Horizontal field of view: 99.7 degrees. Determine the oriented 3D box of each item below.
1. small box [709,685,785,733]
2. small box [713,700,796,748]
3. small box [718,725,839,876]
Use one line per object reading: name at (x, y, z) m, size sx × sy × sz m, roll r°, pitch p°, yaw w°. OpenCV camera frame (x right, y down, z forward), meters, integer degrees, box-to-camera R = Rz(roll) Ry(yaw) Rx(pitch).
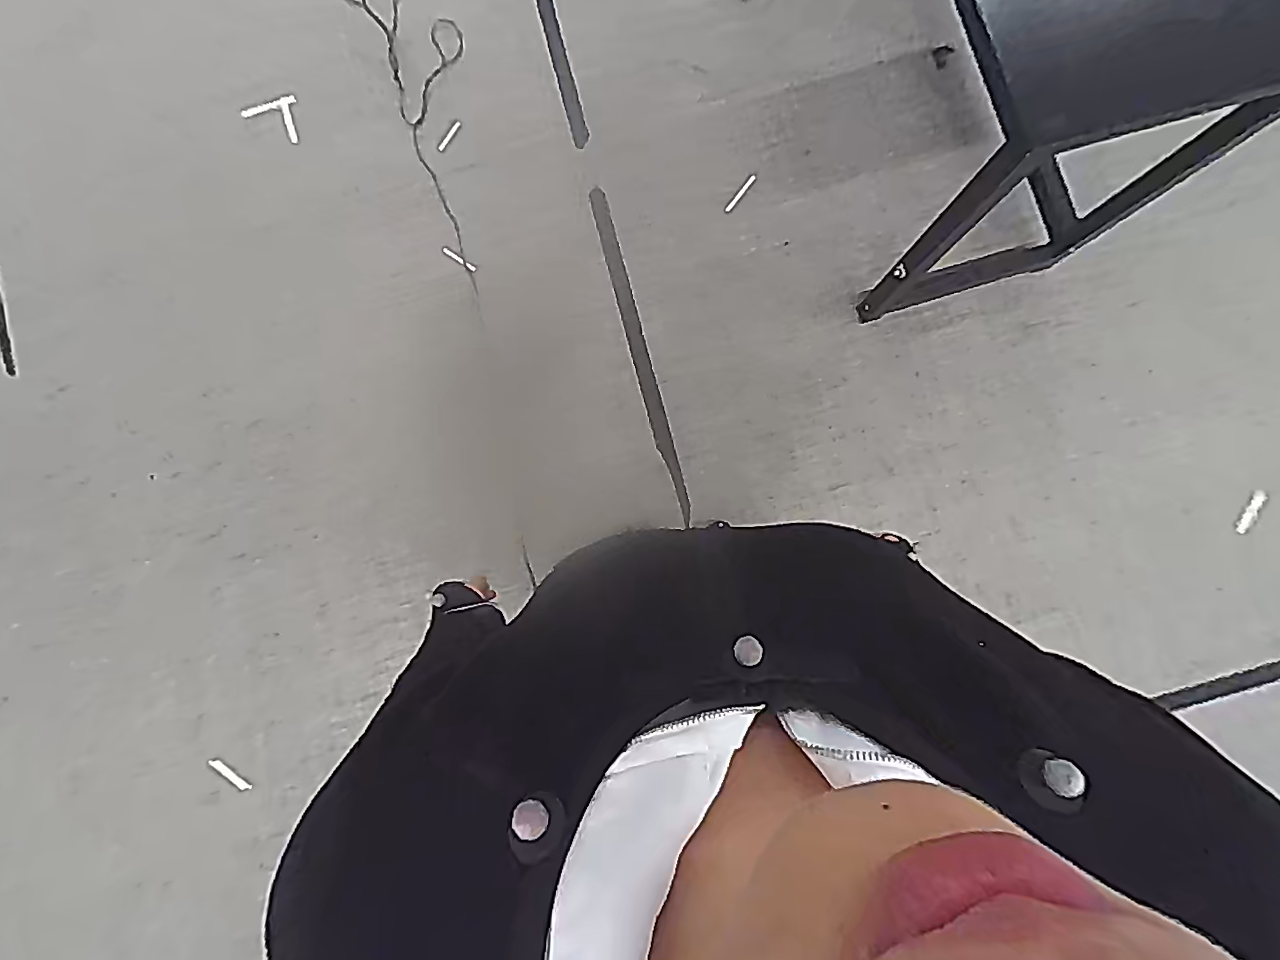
small box at (0.281, 0.642, 1.374) m, size 0.179 × 0.176 × 0.168 m, roll -16°, pitch 84°, yaw 0°
small box at (0.271, 0.624, 1.211) m, size 0.168 × 0.176 × 0.179 m, roll -18°, pitch 85°, yaw 1°
small box at (0.258, 0.609, 1.047) m, size 0.168 × 0.176 × 0.179 m, roll -18°, pitch 83°, yaw 1°
